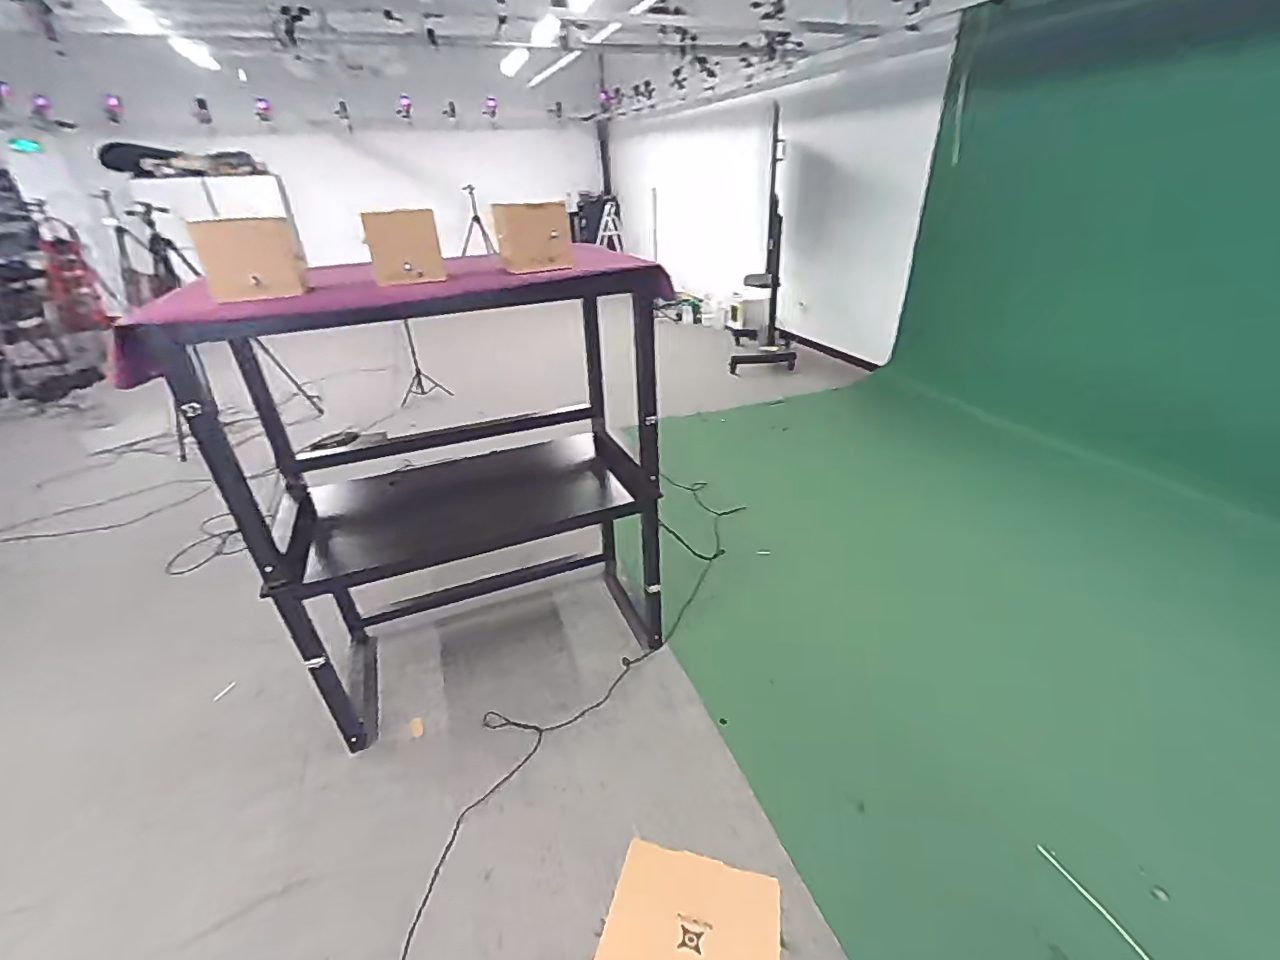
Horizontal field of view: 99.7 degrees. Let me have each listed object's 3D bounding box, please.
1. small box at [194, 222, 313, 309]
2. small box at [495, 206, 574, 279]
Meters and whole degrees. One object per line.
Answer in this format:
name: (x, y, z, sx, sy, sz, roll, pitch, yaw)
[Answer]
small box: (-0.888, -0.505, 1.265, 0.179, 0.176, 0.168, -13, 29, -21)
small box: (-0.286, -0.651, 1.481, 0.168, 0.176, 0.179, -14, 29, -20)
